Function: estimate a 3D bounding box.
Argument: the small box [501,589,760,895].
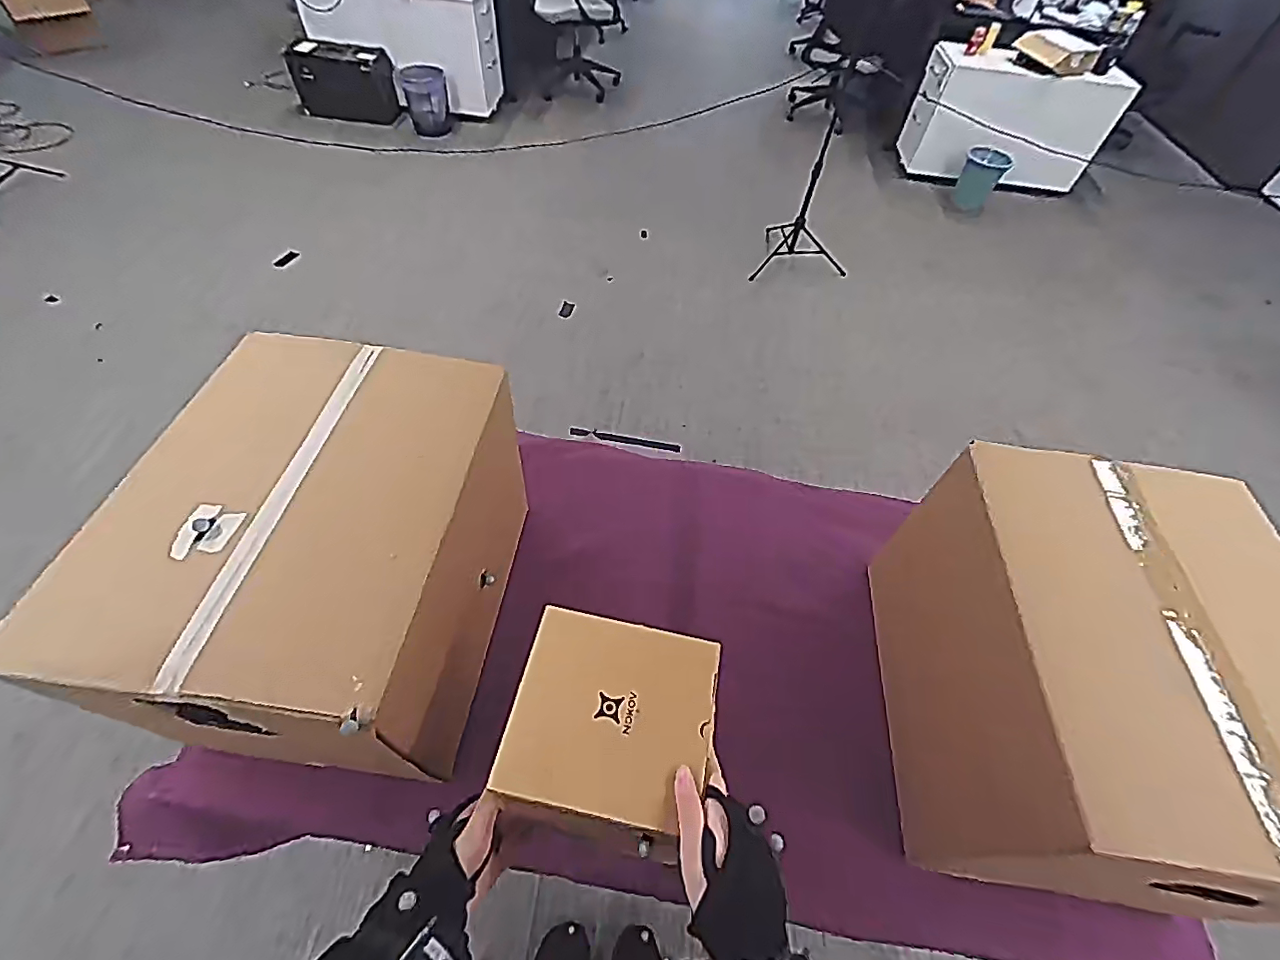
[{"bbox_3d":[-0.008,0.235,0.501,0.168,0.176,0.179,24,30,-11],"label":"small box"}]
